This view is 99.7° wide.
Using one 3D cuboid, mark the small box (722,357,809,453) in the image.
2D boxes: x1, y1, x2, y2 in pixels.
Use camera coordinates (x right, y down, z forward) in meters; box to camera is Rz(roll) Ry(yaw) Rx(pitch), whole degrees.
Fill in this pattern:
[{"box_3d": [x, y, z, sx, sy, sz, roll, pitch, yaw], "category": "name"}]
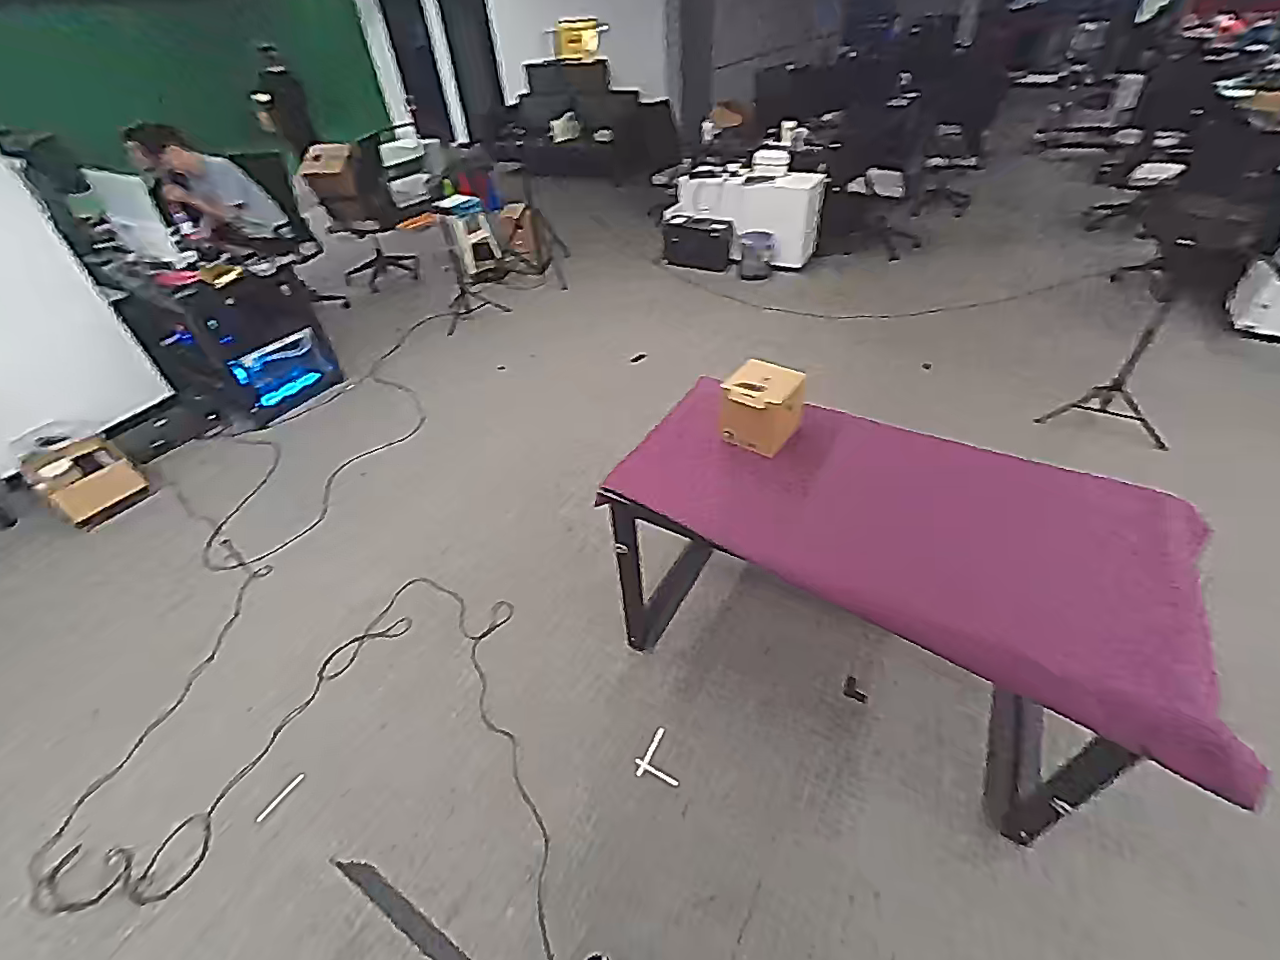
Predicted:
[{"box_3d": [0.333, -0.200, 1.448, 0.168, 0.176, 0.179, 25, 50, 28], "category": "small box"}]
